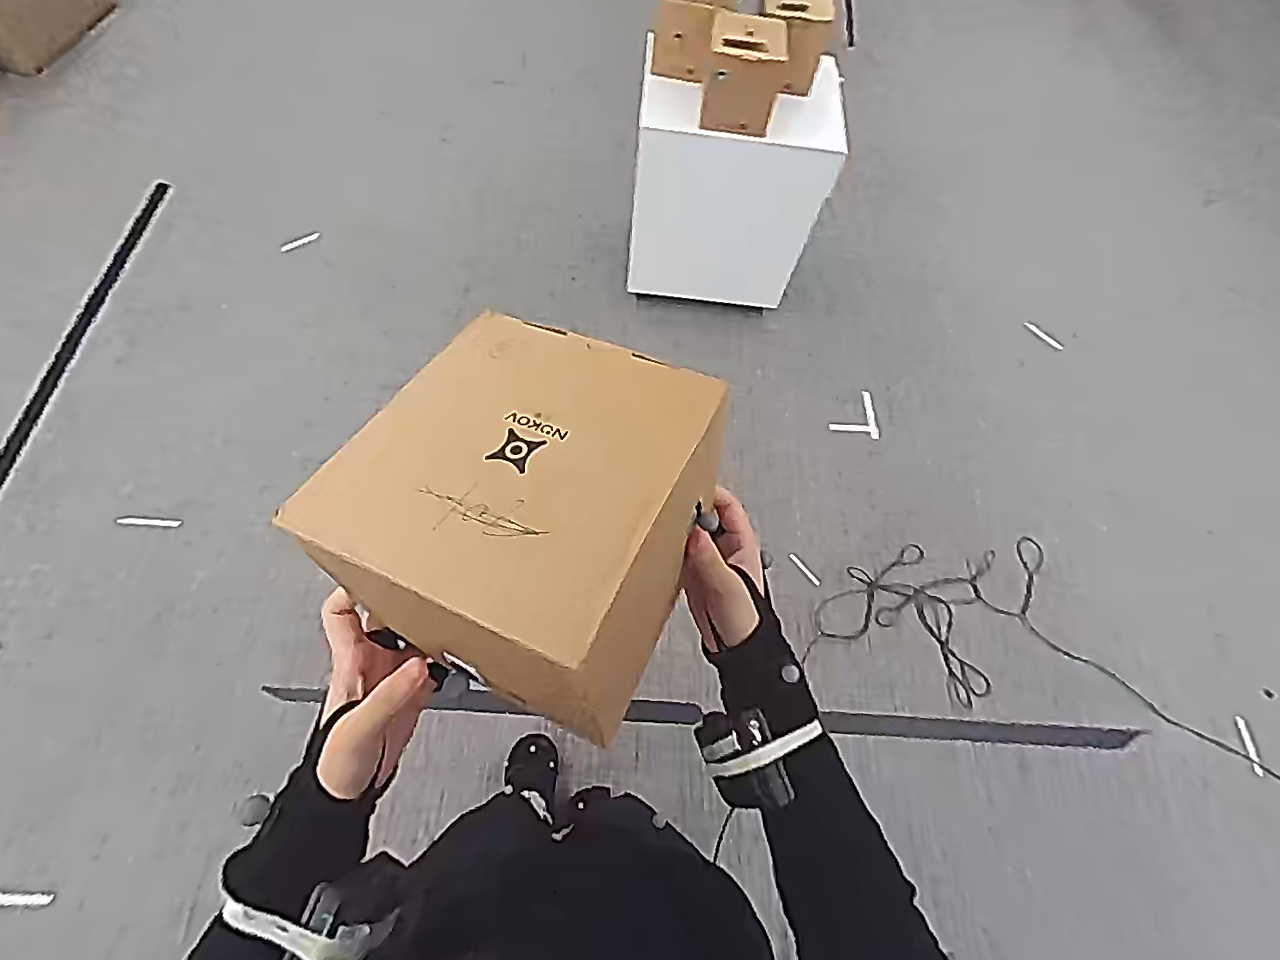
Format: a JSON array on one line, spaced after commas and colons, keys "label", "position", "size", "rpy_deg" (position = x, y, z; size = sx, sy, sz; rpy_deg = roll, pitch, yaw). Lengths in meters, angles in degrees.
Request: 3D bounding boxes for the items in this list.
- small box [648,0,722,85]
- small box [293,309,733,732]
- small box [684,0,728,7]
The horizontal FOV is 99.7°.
[{"label": "small box", "position": [0.114, -1.128, 1.346], "size": [0.168, 0.176, 0.179], "rpy_deg": [9, 66, -2]}, {"label": "small box", "position": [-0.055, 0.029, 0.342], "size": [0.168, 0.176, 0.179], "rpy_deg": [19, 58, 14]}, {"label": "small box", "position": [0.135, -1.200, 1.200], "size": [0.168, 0.176, 0.179], "rpy_deg": [8, 66, -2]}]
